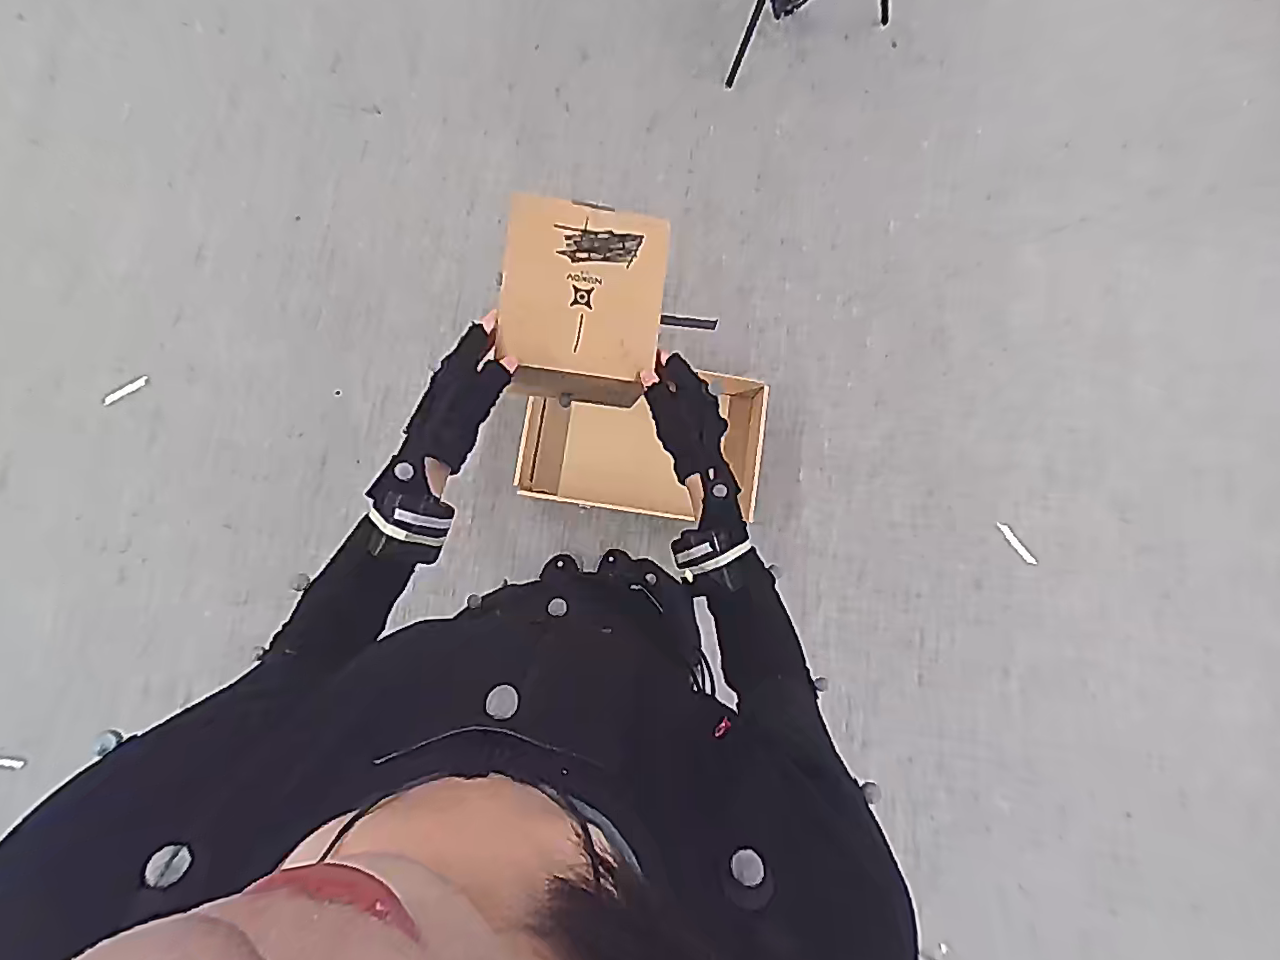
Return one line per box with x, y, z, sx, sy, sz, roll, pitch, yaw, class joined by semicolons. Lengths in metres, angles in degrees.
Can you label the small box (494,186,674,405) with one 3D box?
-0.067;-0.193;0.619;0.168;0.176;0.179;6;89;-9;small box
